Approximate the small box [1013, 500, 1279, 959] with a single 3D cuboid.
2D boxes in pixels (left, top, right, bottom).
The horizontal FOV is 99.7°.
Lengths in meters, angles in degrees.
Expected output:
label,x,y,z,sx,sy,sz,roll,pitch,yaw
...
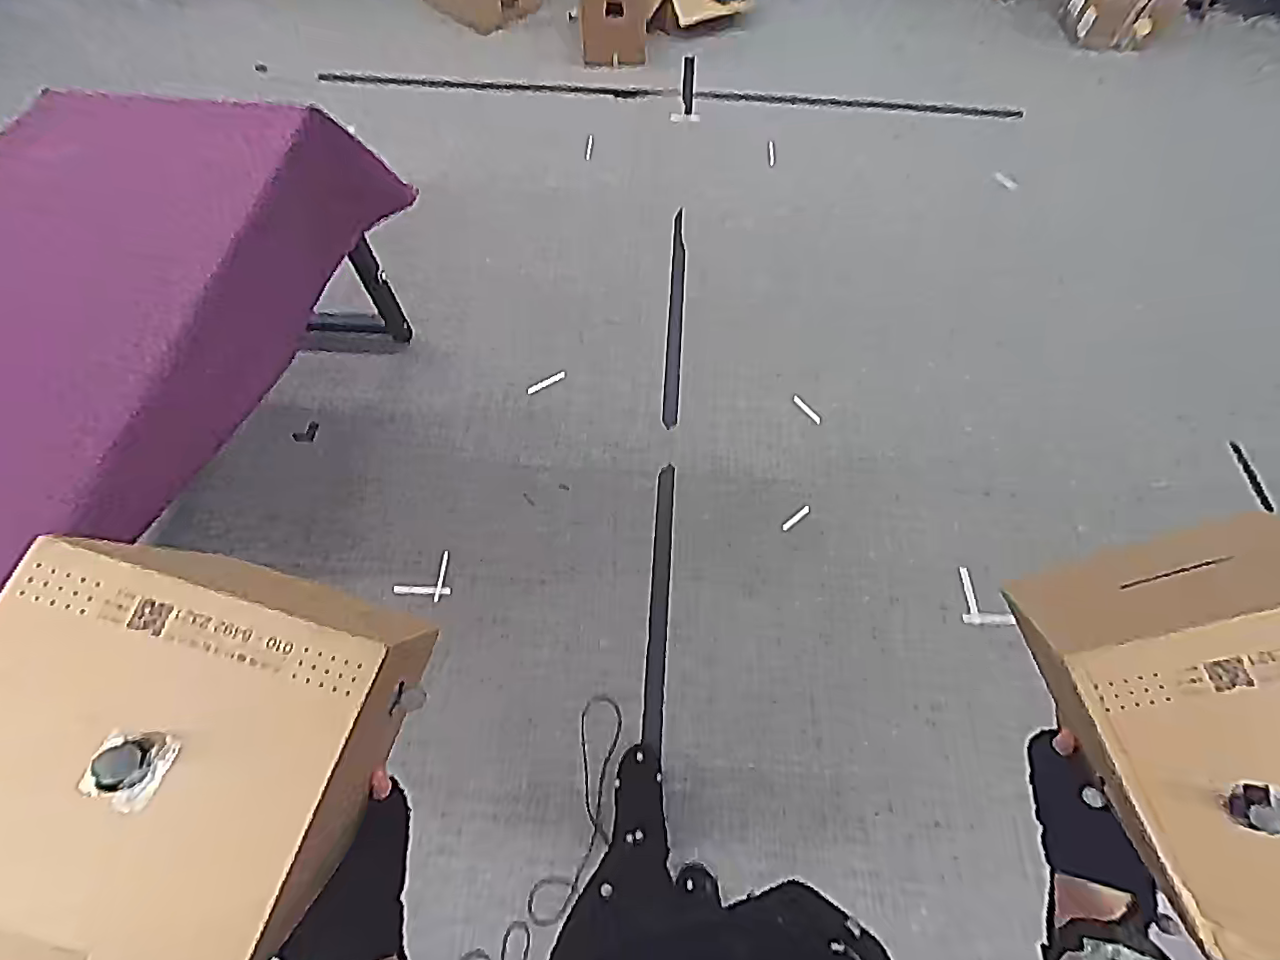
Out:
label,x,y,z,sx,sy,sz,roll,pitch,yaw
small box,0.352,0.120,0.312,0.168,0.179,0.176,-24,83,24
